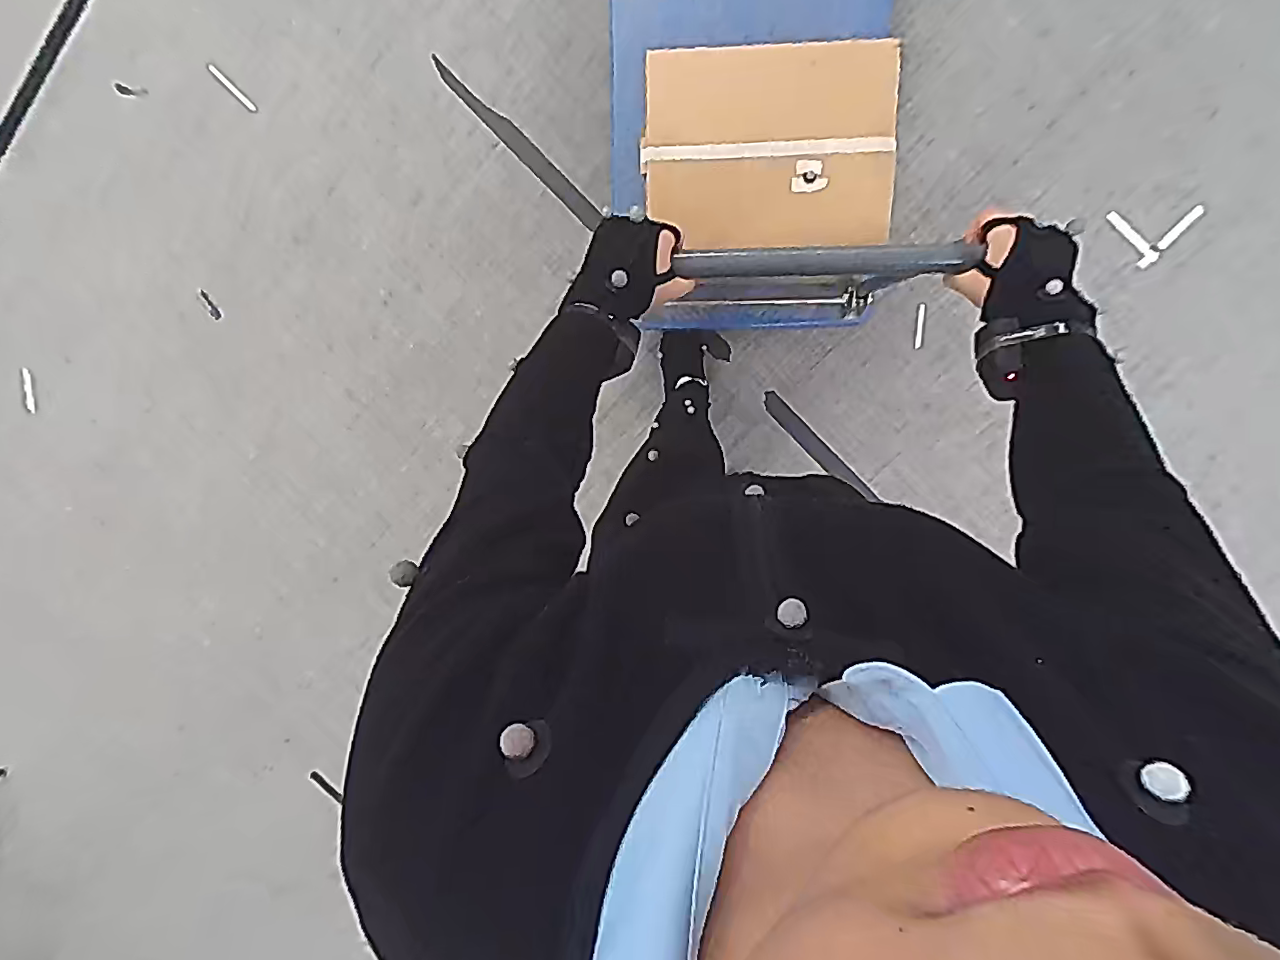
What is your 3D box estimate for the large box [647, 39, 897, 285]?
[{"bbox_3d":[0.221,-0.570,1.039,0.408,0.320,0.320,0,100,3],"label":"large box"}]
